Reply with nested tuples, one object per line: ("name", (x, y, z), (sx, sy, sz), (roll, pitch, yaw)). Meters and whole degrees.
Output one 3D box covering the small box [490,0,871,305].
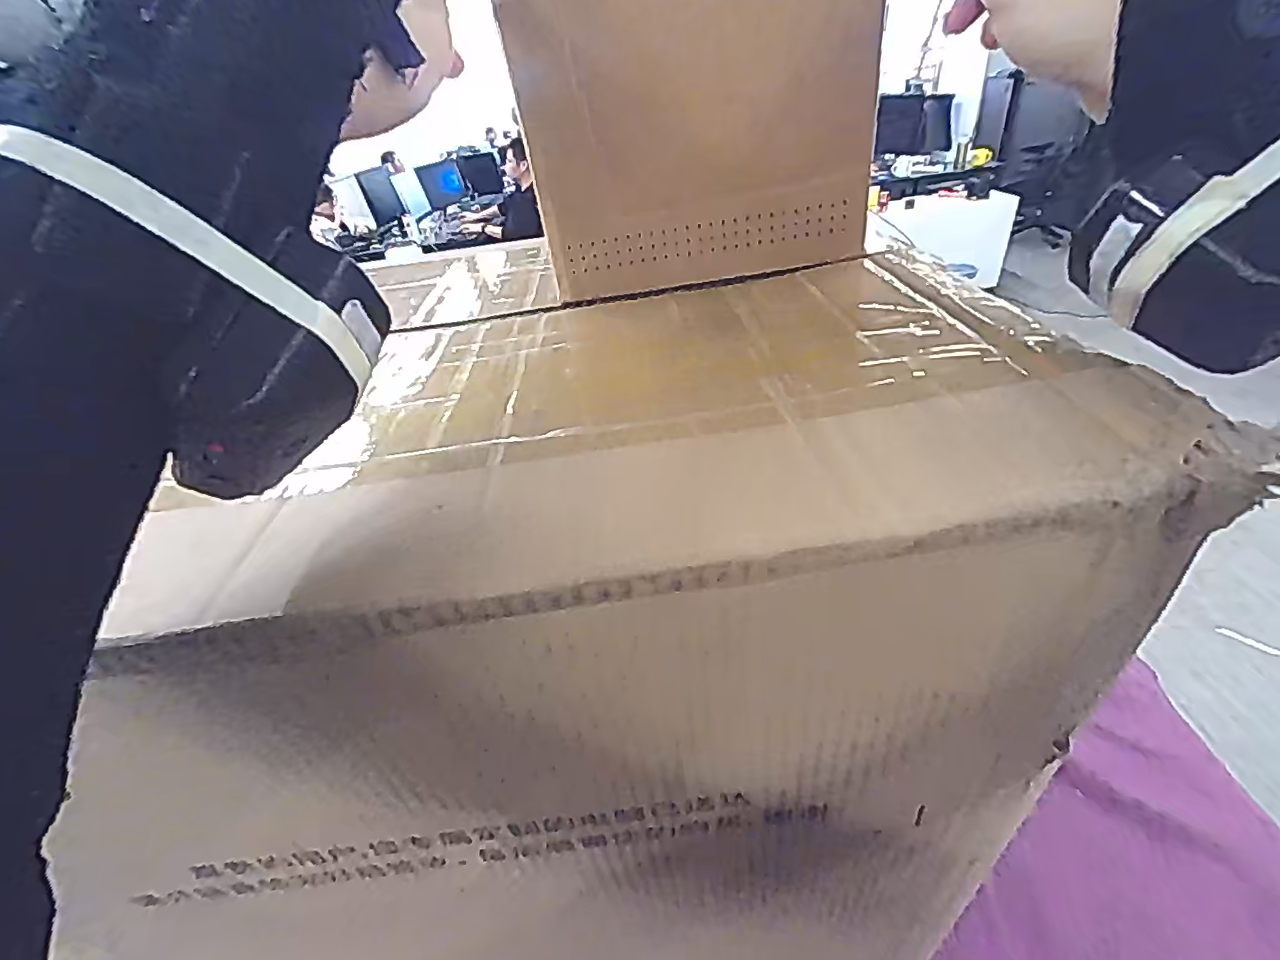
("small box", (0.024, -0.215, 0.323), (0.179, 0.176, 0.168), (-8, 35, 2))
